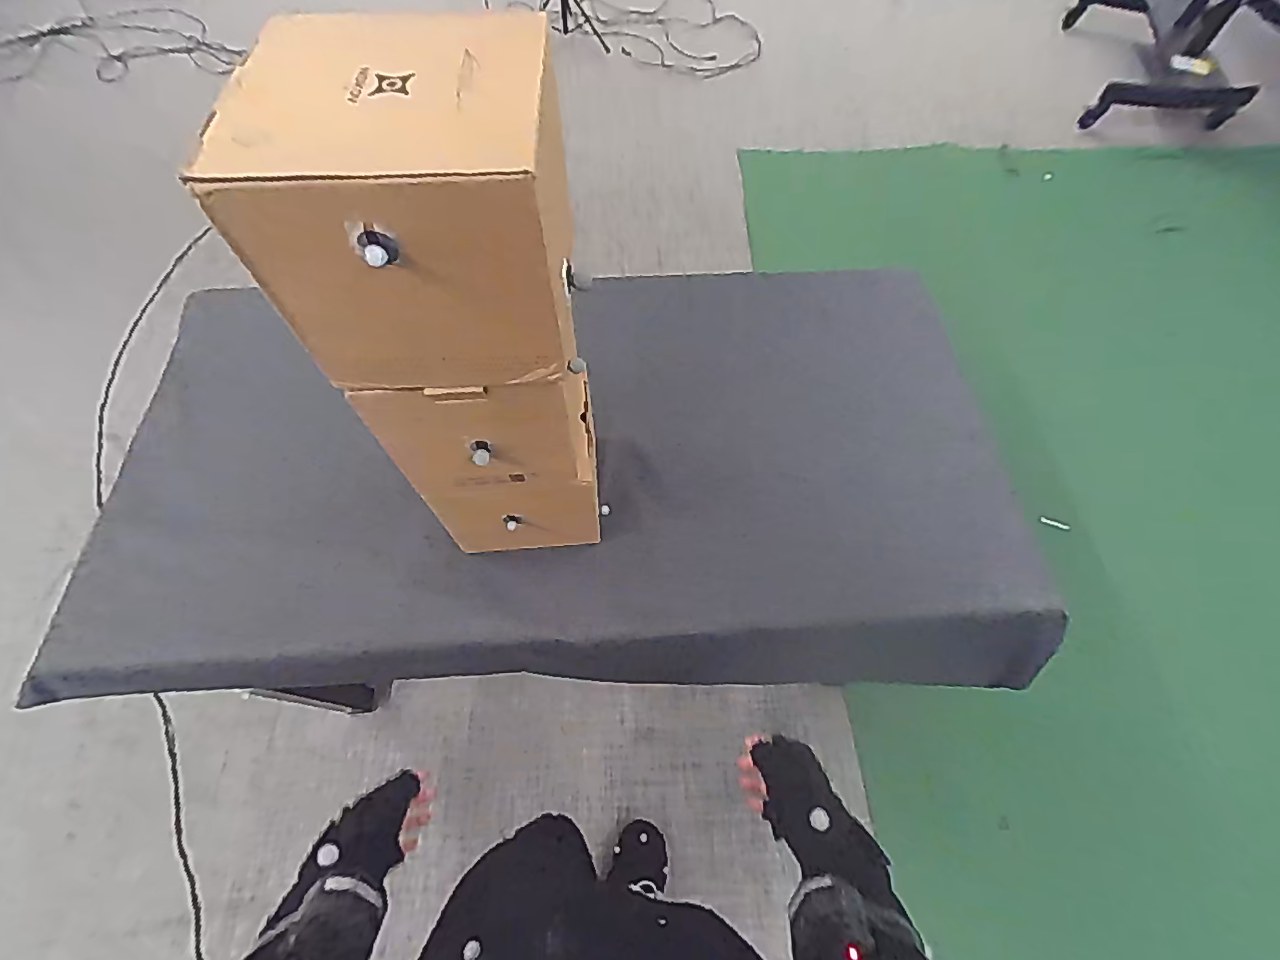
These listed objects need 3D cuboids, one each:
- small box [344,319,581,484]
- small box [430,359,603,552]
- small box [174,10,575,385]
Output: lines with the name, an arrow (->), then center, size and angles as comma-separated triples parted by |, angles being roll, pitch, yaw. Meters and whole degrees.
small box -> -0.147, -0.105, 0.514 | 0.168, 0.176, 0.179 | -4, 62, -2
small box -> -0.138, -0.023, 0.655 | 0.179, 0.176, 0.168 | -7, 62, -5
small box -> -0.142, -0.178, 0.368 | 0.179, 0.176, 0.168 | -2, 63, -2
